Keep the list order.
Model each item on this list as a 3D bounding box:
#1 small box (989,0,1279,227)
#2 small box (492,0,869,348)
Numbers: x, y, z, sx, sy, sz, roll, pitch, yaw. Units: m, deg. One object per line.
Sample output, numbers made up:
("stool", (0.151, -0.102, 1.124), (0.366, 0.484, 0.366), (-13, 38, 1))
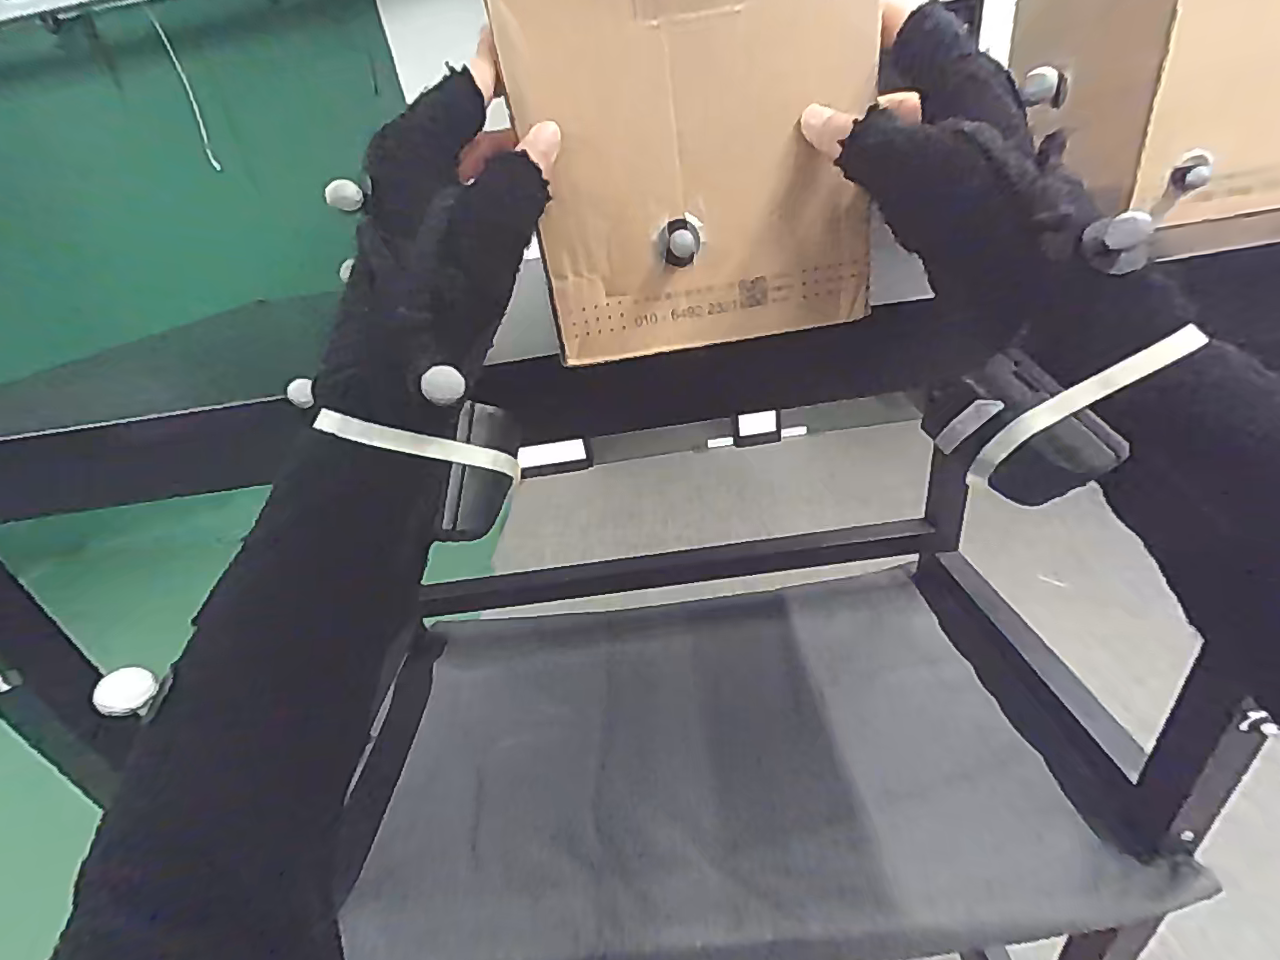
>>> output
("small box", (0.394, -0.291, 0.401), (0.168, 0.176, 0.179), (-7, 27, 6))
("small box", (0.021, -0.190, 0.335), (0.168, 0.176, 0.179), (-9, 28, 0))
